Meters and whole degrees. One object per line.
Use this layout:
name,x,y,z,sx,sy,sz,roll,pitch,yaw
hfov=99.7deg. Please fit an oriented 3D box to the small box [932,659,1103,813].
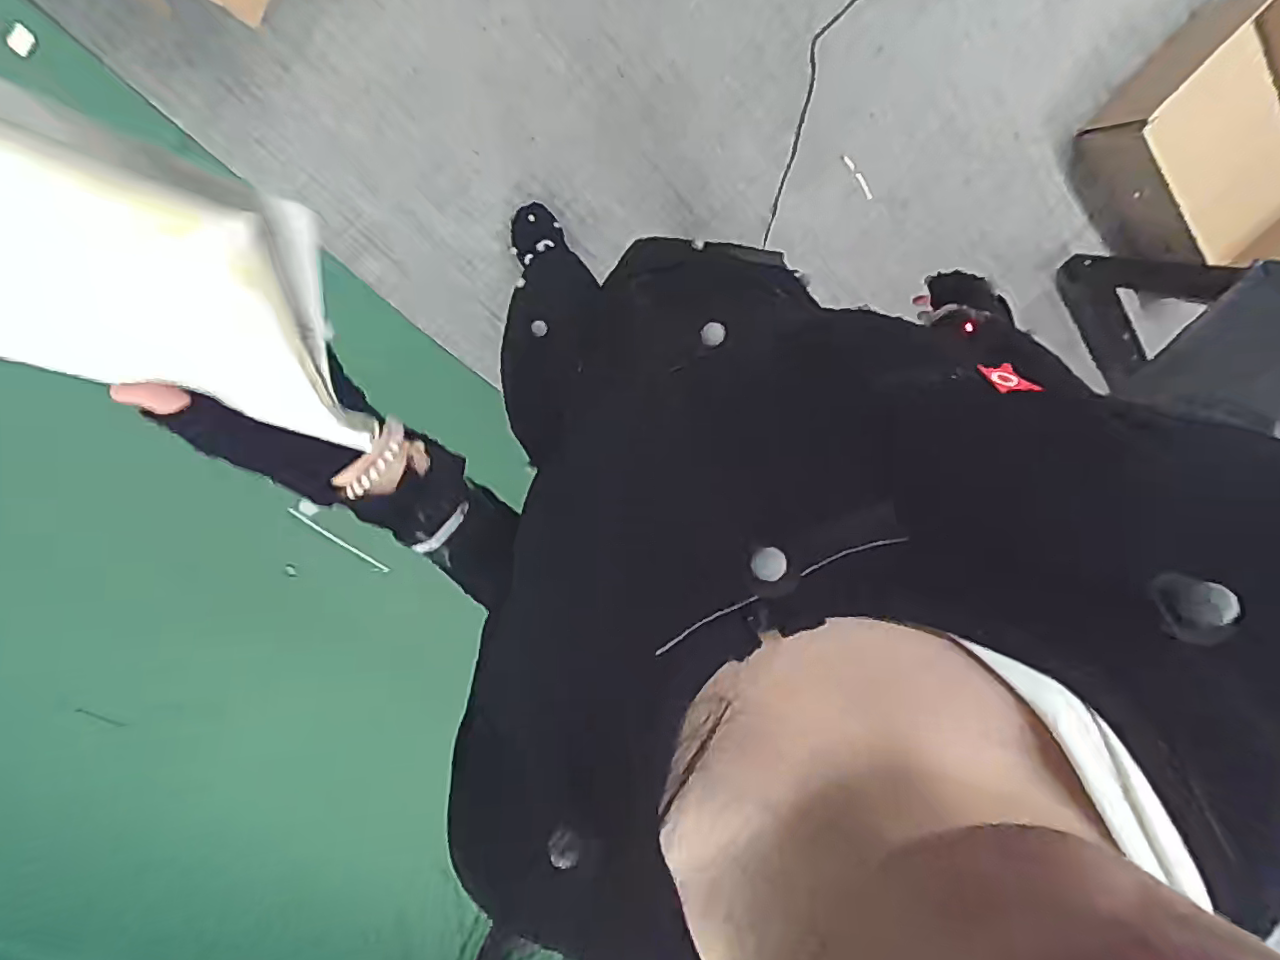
small box,0.689,0.468,1.003,0.168,0.176,0.179,-41,115,11
